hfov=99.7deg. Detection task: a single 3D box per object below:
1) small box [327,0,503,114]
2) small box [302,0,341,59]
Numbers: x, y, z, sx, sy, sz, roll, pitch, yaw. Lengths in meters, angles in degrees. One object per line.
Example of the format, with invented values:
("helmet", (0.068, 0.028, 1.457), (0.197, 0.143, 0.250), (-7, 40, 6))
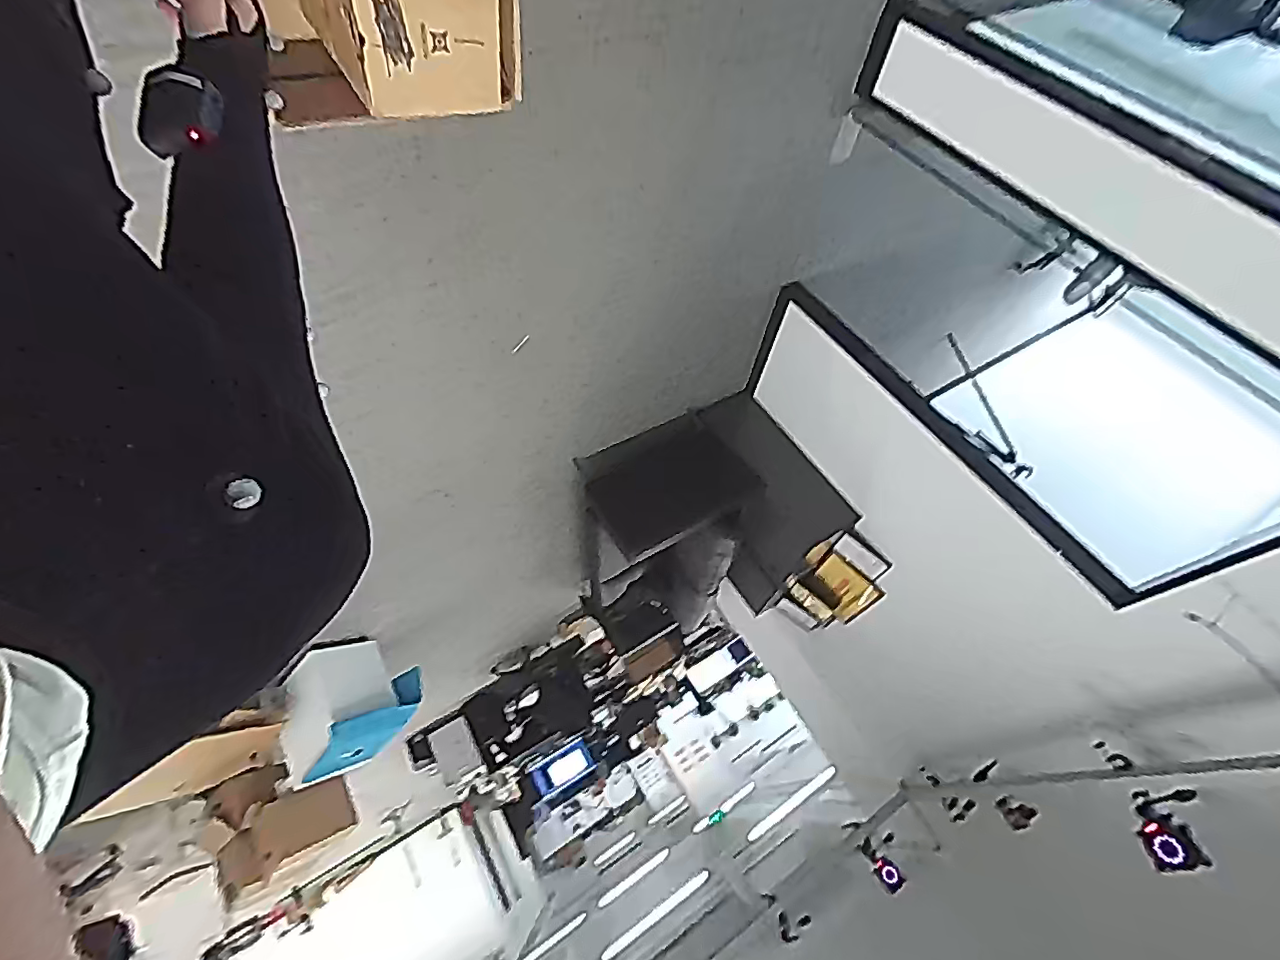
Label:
("small box", (-0.289, -0.592, 0.683), (0.179, 0.176, 0.168), (-23, 153, -26))
("small box", (-0.375, -0.716, 0.749), (0.179, 0.176, 0.168), (-22, 153, -25))
